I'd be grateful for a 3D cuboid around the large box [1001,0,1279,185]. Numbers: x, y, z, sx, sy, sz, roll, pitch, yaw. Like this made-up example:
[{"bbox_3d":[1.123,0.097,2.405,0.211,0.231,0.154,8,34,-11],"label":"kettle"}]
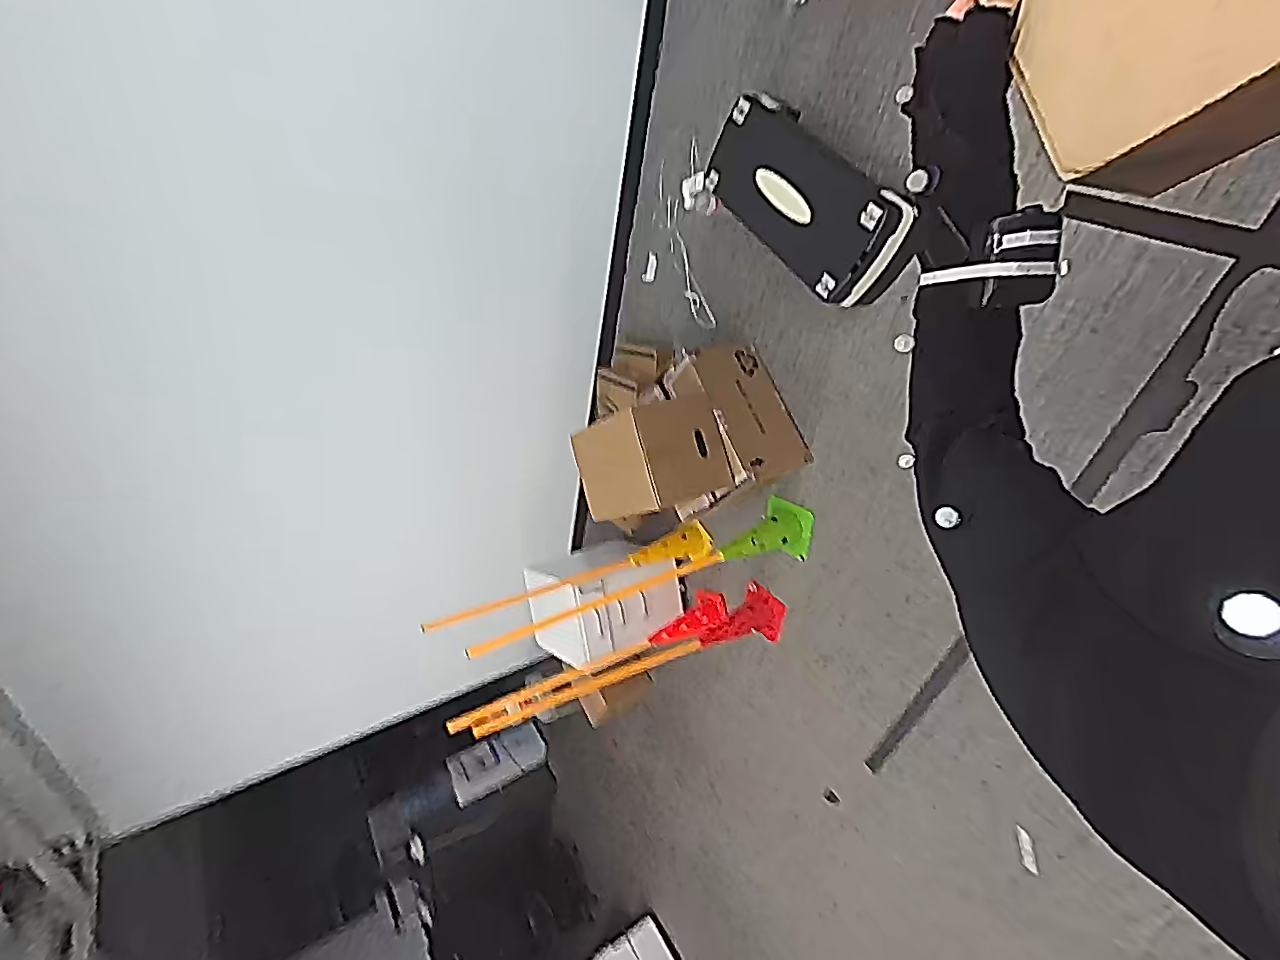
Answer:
[{"bbox_3d":[0.474,-0.453,0.322,0.408,0.320,0.320,-22,89,53],"label":"large box"}]
